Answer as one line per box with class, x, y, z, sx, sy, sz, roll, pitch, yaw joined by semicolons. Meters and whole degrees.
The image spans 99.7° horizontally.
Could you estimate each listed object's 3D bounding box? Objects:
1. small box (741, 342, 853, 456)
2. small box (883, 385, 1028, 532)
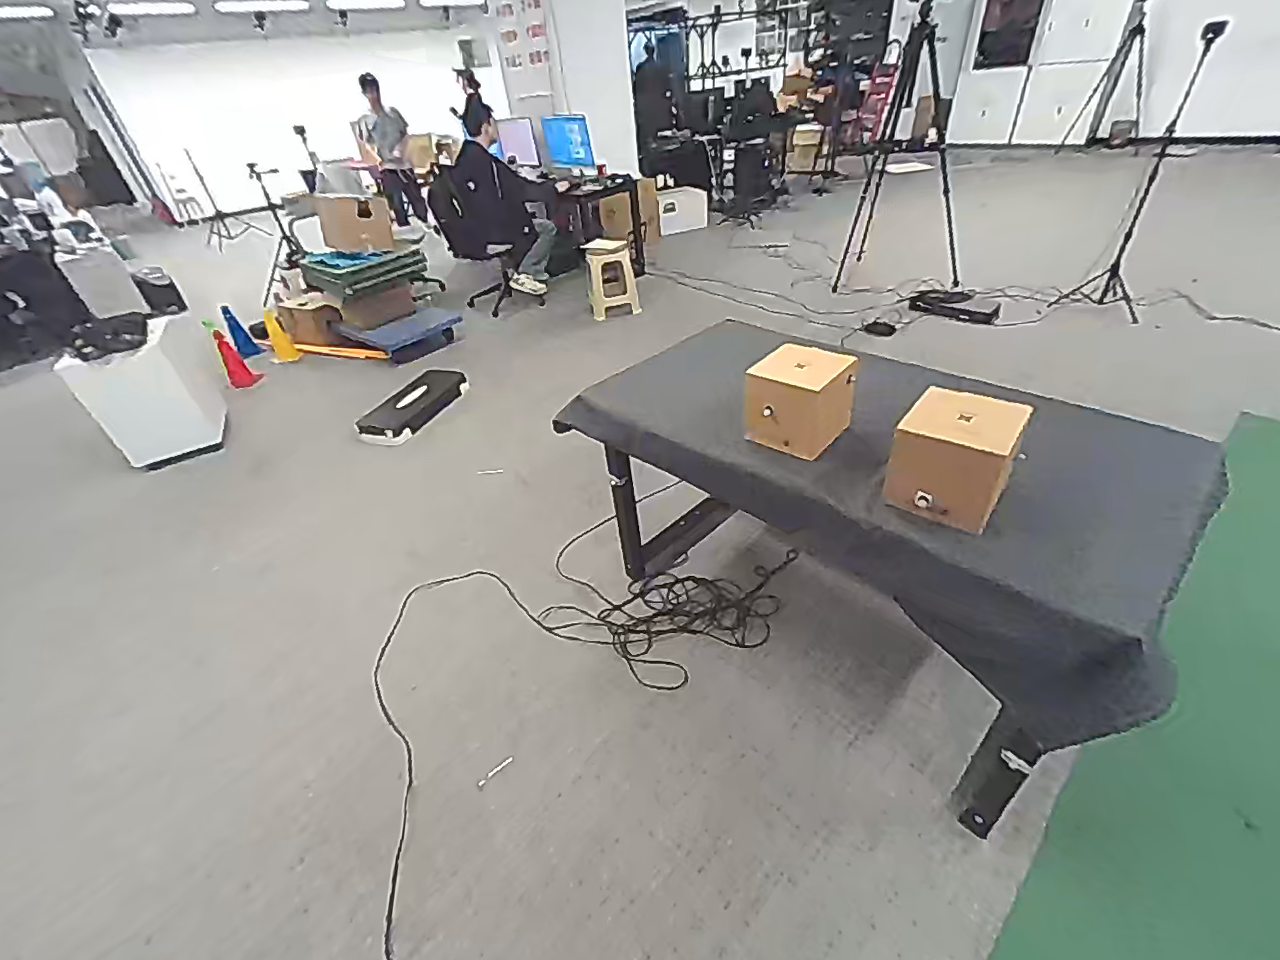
small box;0.334;-0.174;1.159;0.168;0.176;0.179;24;46;34
small box;0.546;-0.042;0.951;0.168;0.176;0.179;22;46;34
